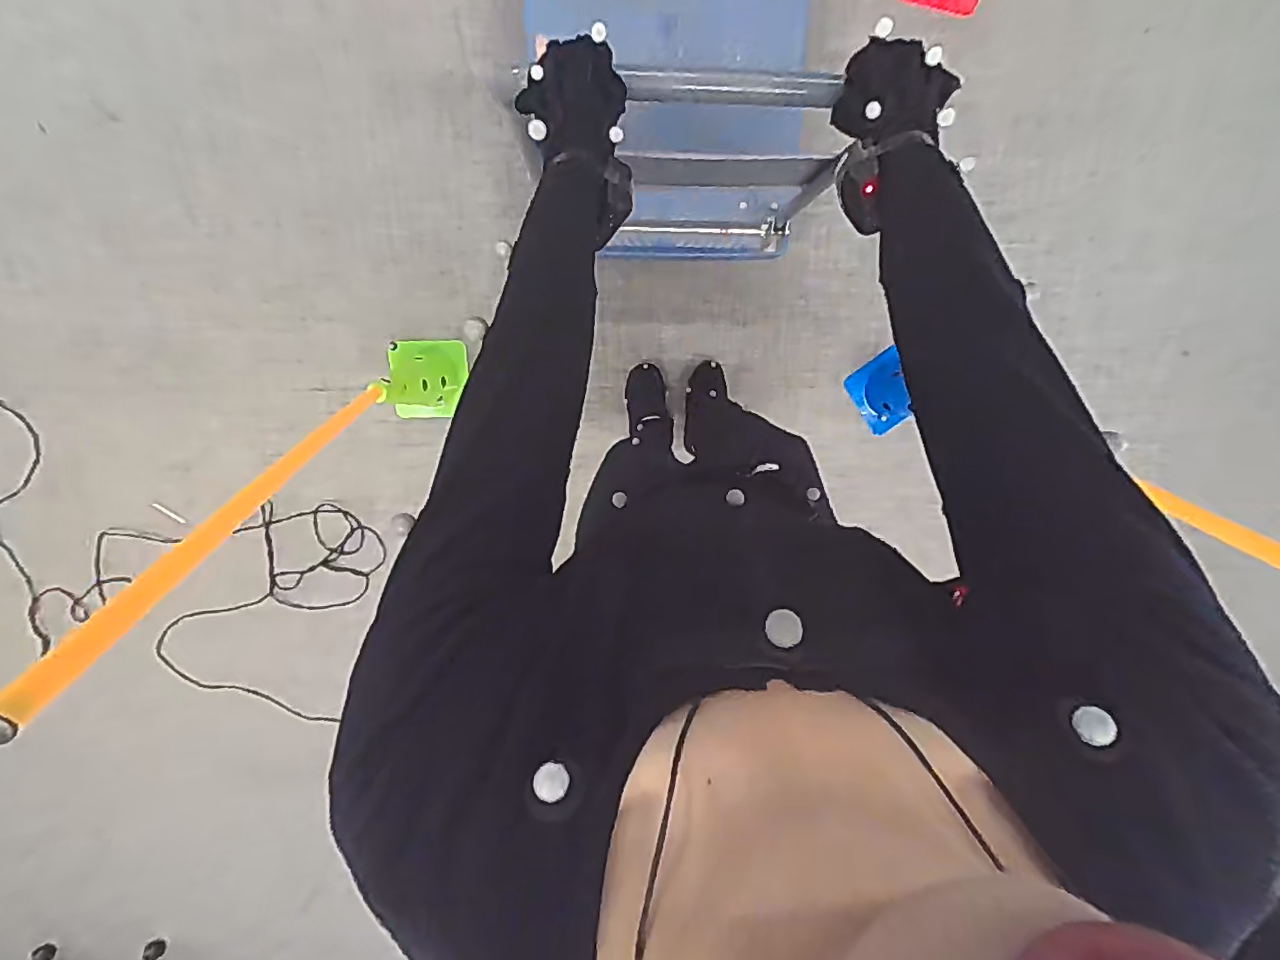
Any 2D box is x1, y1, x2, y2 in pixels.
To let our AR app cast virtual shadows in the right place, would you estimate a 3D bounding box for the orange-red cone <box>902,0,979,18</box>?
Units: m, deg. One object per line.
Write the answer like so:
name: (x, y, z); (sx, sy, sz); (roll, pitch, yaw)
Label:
orange-red cone: (0.710, -1.143, 1.071); (0.198, 0.360, 0.199); (11, 105, -5)
